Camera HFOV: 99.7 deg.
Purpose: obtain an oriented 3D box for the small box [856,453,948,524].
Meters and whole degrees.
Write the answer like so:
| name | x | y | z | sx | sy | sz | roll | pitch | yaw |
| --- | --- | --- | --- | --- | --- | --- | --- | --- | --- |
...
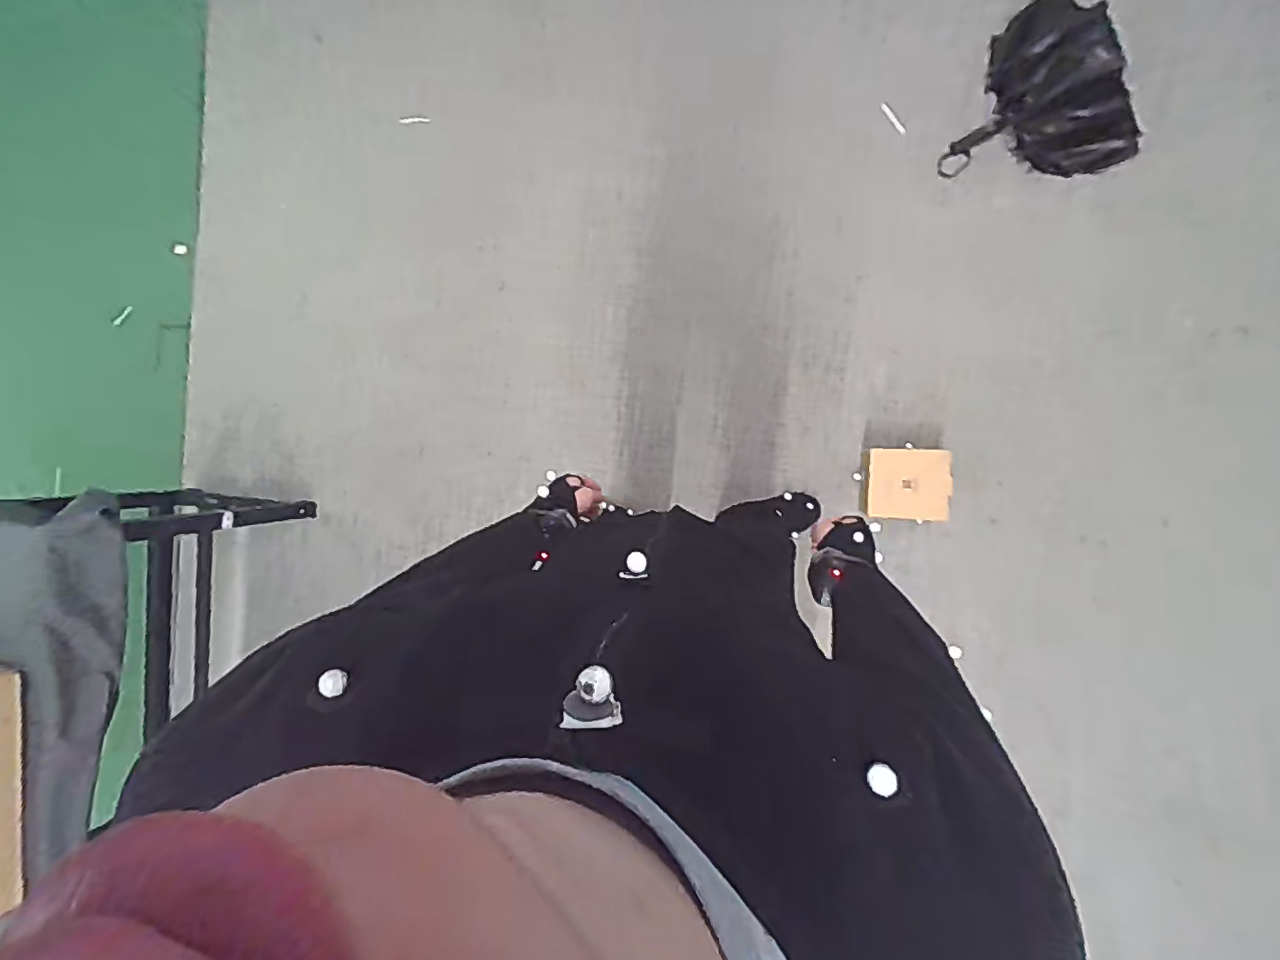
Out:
| name | x | y | z | sx | sy | sz | roll | pitch | yaw |
| --- | --- | --- | --- | --- | --- | --- | --- | --- | --- |
| small box | 0.644 | 0.017 | 1.347 | 0.179 | 0.176 | 0.168 | 1 | 91 | 15 |
